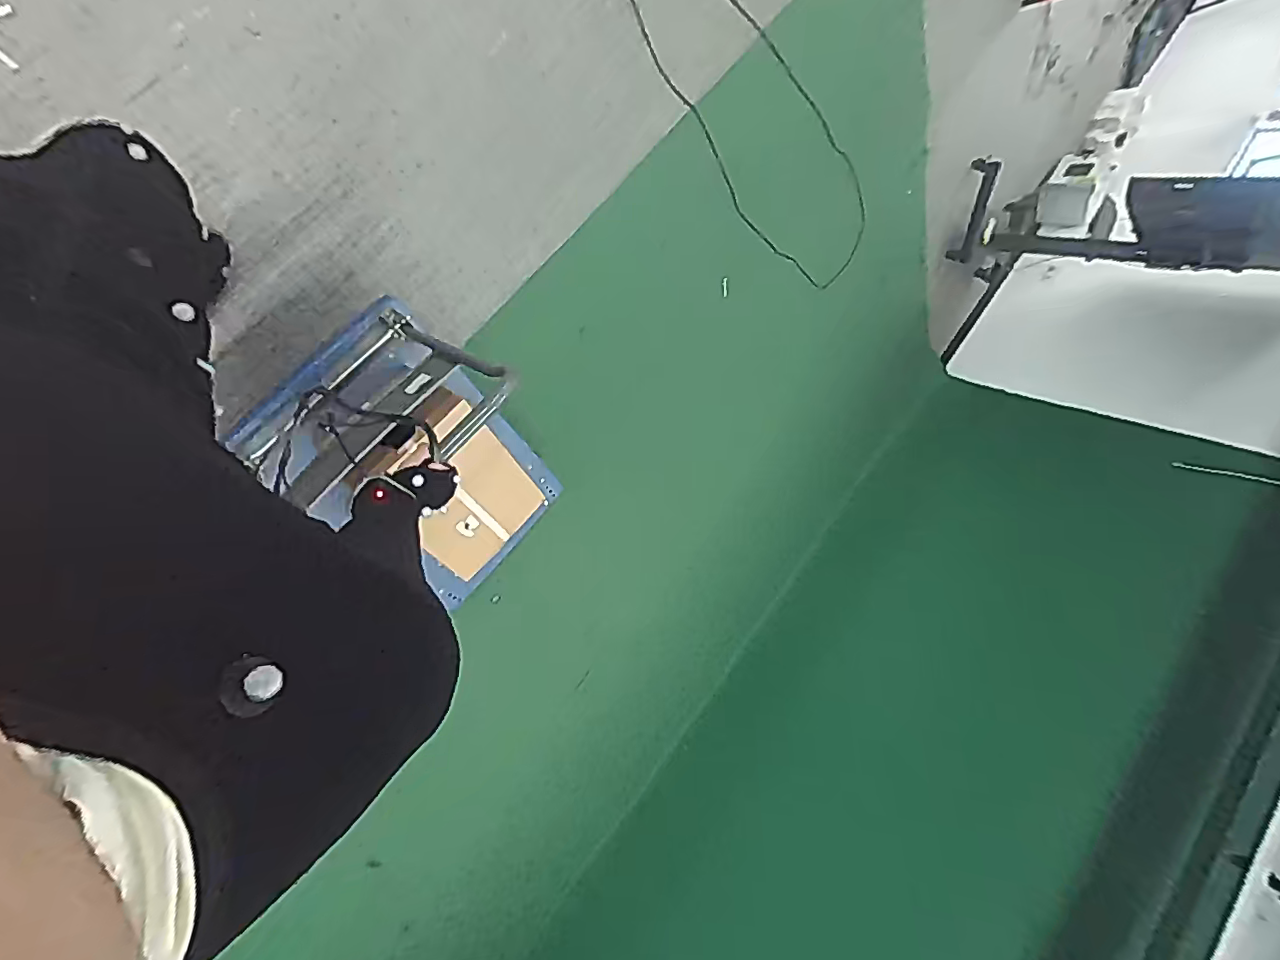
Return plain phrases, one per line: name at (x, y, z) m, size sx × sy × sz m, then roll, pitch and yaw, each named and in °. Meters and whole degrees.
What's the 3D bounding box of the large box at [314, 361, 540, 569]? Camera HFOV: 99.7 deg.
large box at (-0.547, -0.039, 1.428) m, size 0.320 × 0.320 × 0.408 m, roll -47°, pitch 140°, yaw -15°
